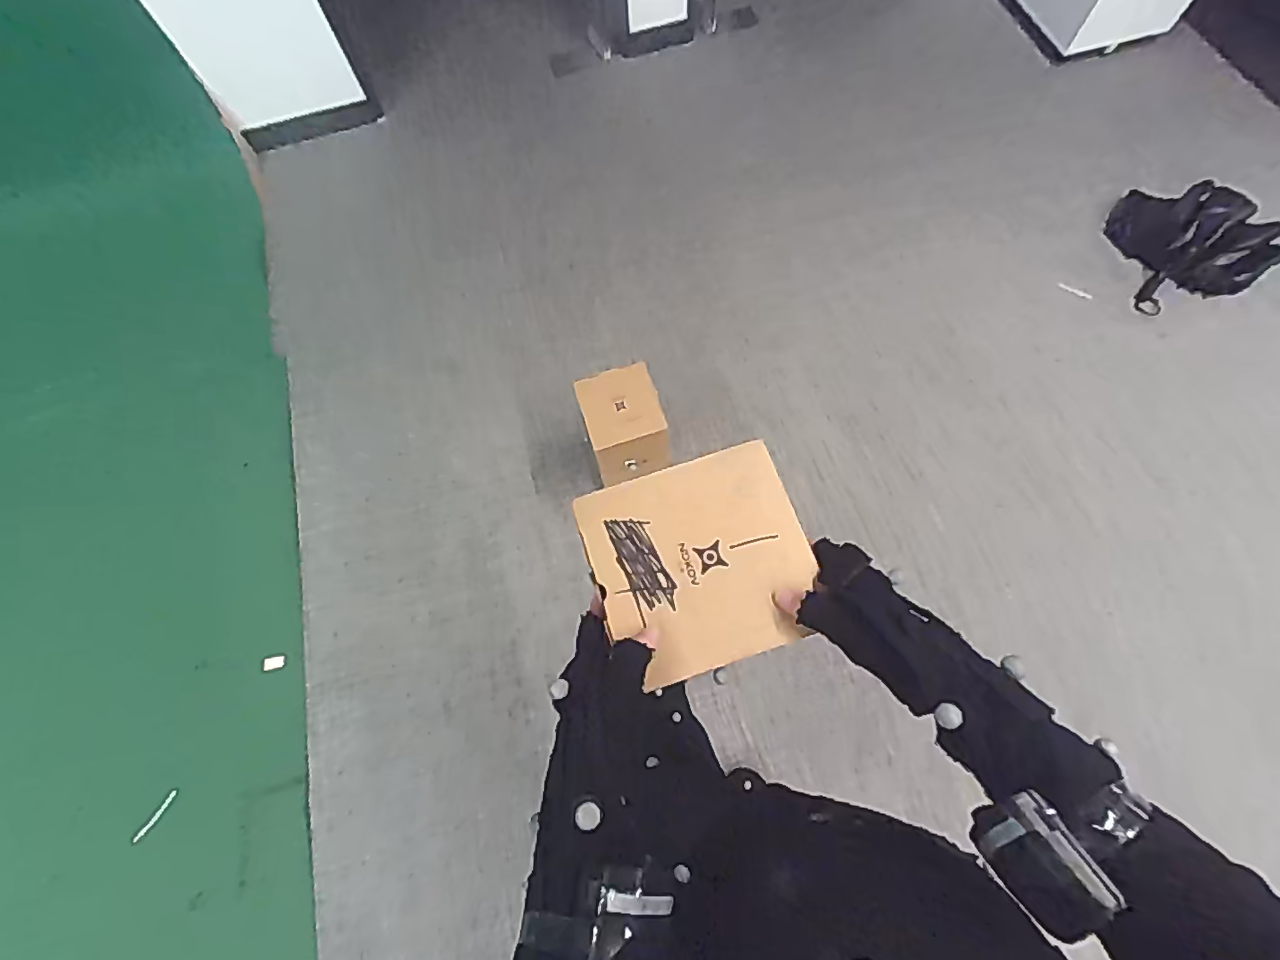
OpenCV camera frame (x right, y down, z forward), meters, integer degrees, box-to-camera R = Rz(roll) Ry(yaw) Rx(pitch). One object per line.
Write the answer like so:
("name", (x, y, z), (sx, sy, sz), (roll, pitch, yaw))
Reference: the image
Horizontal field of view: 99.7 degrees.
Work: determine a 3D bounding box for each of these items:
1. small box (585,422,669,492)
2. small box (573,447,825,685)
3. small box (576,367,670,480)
("small box", (-0.032, -0.080, 1.393), (0.179, 0.176, 0.168), (-17, 68, -4))
("small box", (0.050, 0.094, 0.533), (0.179, 0.176, 0.168), (-18, 71, -3))
("small box", (-0.036, -0.124, 1.235), (0.168, 0.176, 0.179), (-18, 70, -2))
